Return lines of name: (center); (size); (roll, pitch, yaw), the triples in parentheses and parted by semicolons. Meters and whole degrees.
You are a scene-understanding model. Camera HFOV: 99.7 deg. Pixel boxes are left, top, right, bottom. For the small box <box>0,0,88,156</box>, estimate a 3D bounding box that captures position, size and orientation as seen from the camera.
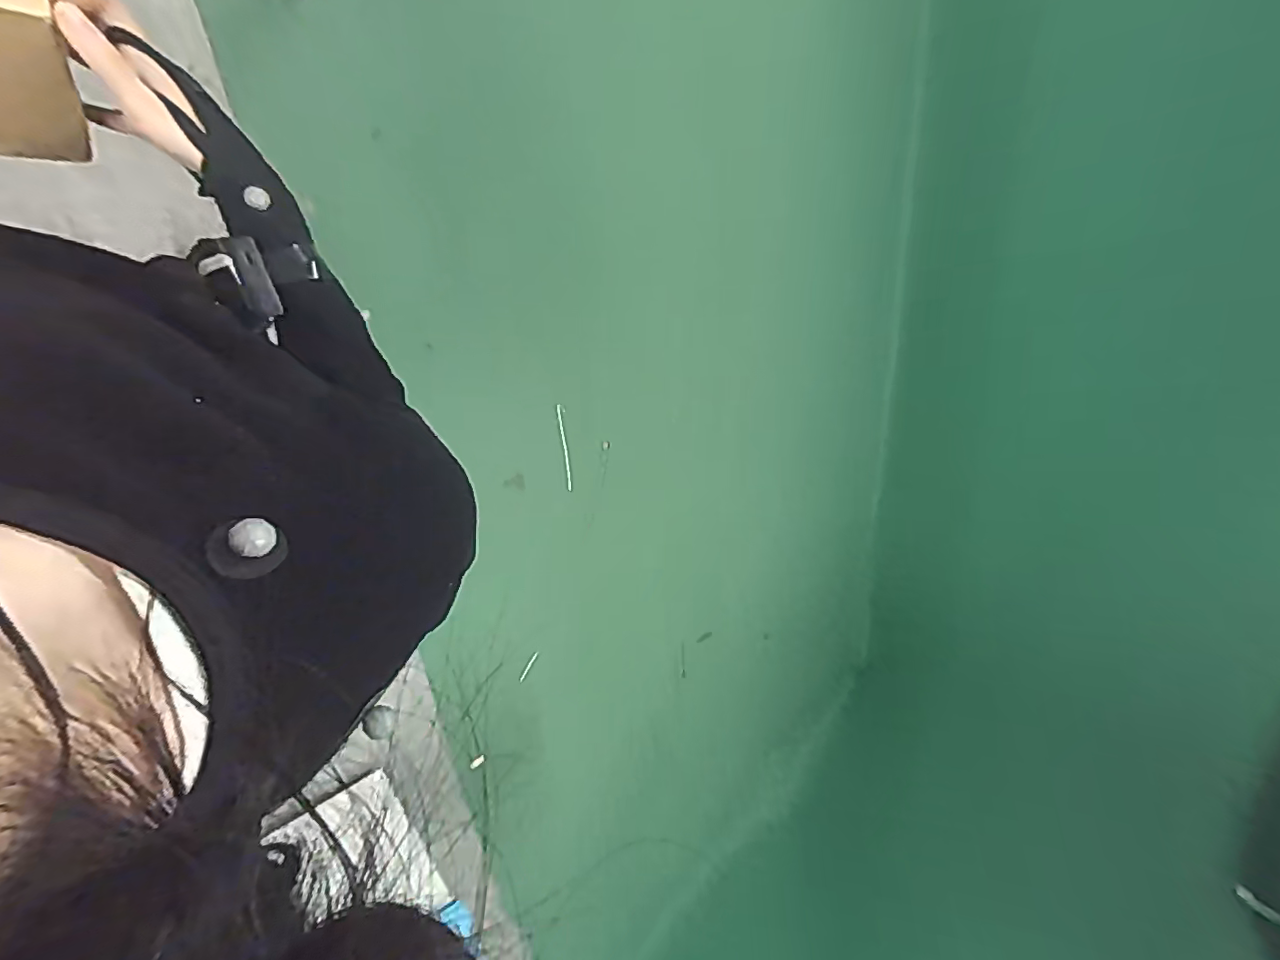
small box: (-0.439, -0.308, 0.289); (0.168, 0.176, 0.179); (-18, 99, -40)
